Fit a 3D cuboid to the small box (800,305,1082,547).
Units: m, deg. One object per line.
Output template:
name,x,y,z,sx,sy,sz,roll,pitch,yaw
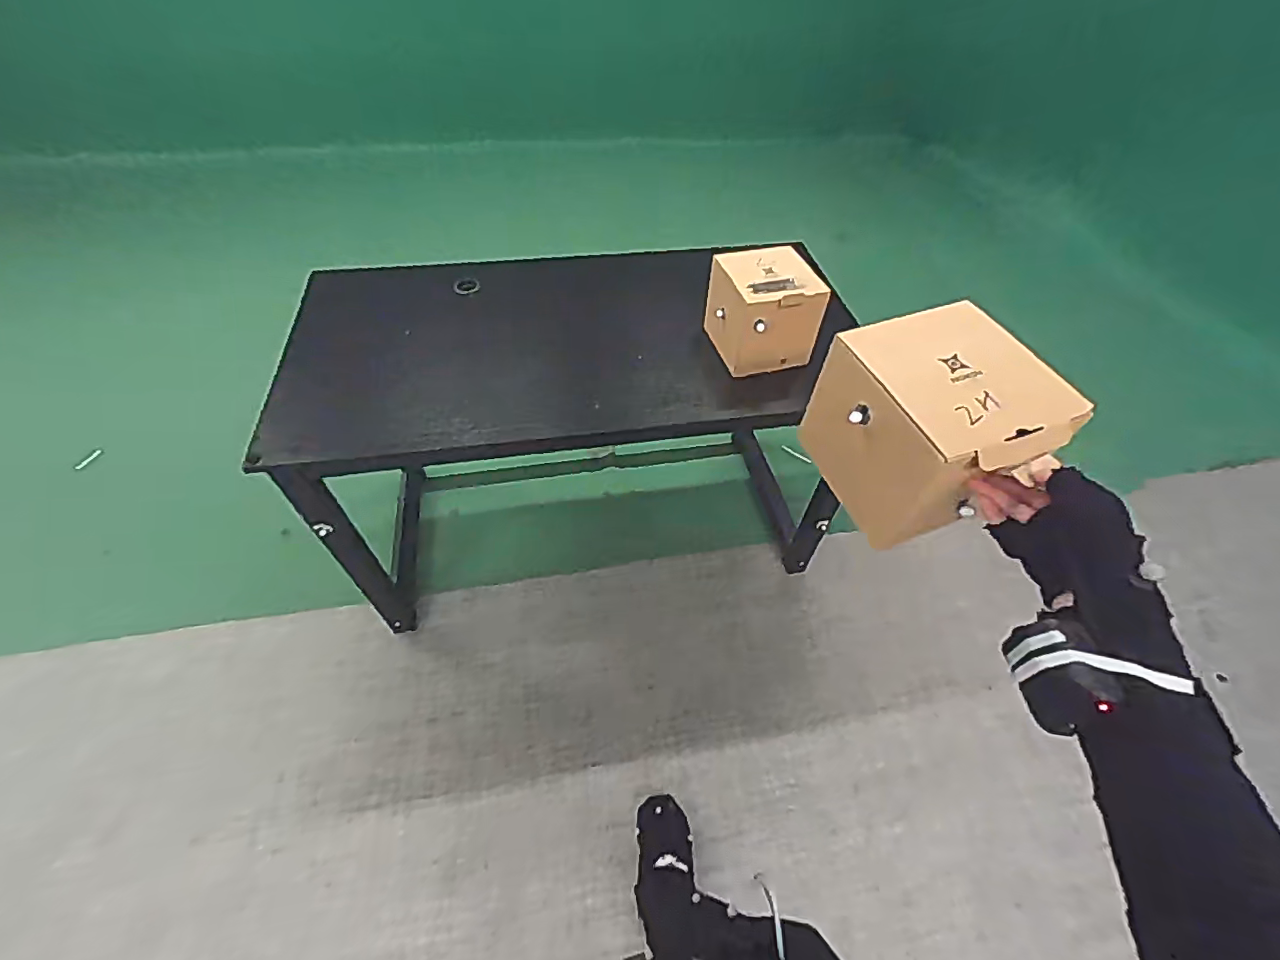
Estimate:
small box,0.300,-0.057,0.589,0.168,0.176,0.179,-17,57,-12
